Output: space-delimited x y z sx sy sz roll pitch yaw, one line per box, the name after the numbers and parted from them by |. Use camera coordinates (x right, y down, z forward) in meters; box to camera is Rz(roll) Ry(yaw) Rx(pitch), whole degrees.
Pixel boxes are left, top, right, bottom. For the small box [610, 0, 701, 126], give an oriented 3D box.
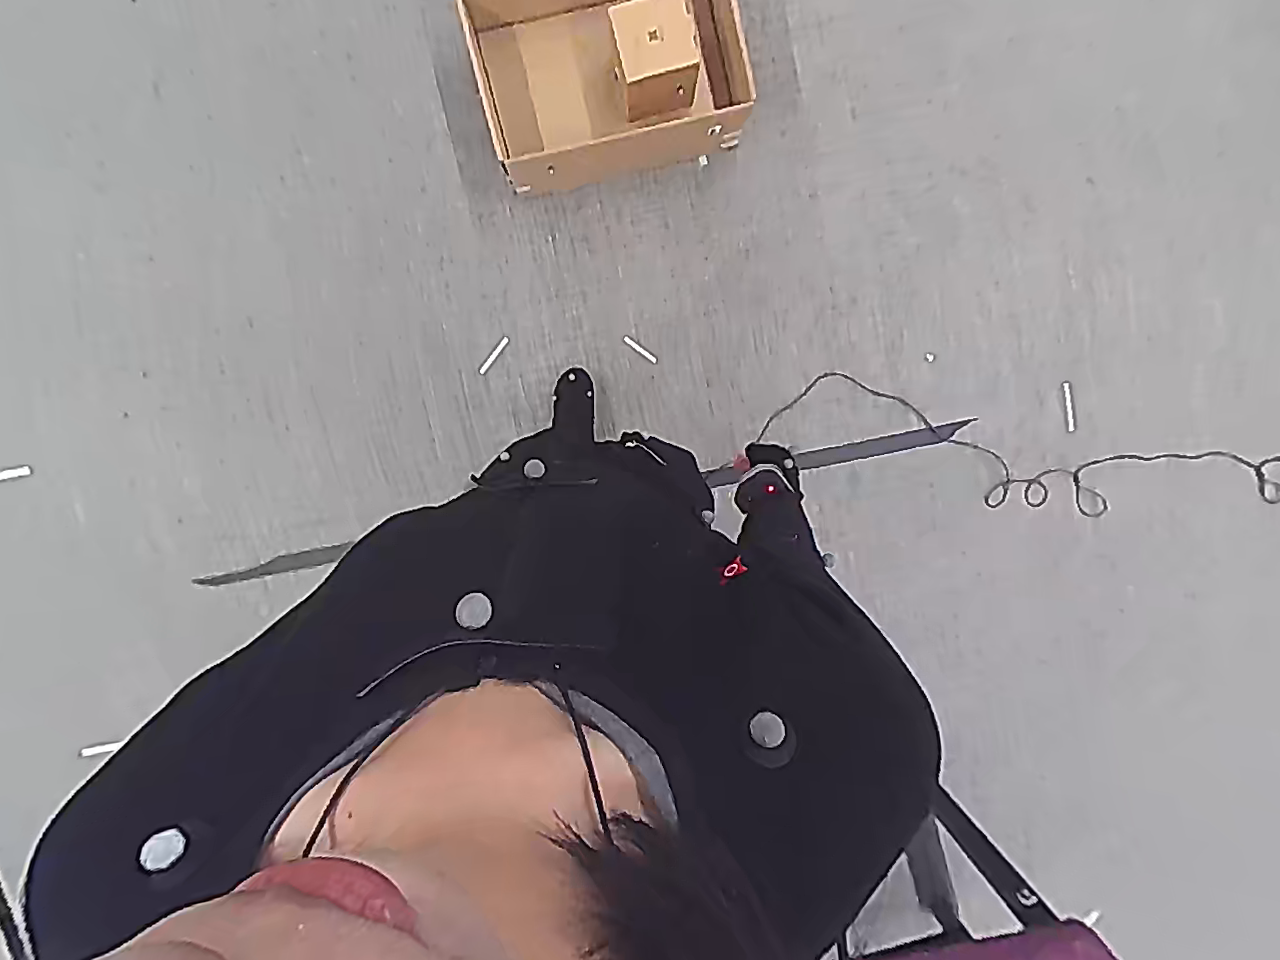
0.034 -0.993 1.294 0.179 0.176 0.168 -16 95 1 | small box
